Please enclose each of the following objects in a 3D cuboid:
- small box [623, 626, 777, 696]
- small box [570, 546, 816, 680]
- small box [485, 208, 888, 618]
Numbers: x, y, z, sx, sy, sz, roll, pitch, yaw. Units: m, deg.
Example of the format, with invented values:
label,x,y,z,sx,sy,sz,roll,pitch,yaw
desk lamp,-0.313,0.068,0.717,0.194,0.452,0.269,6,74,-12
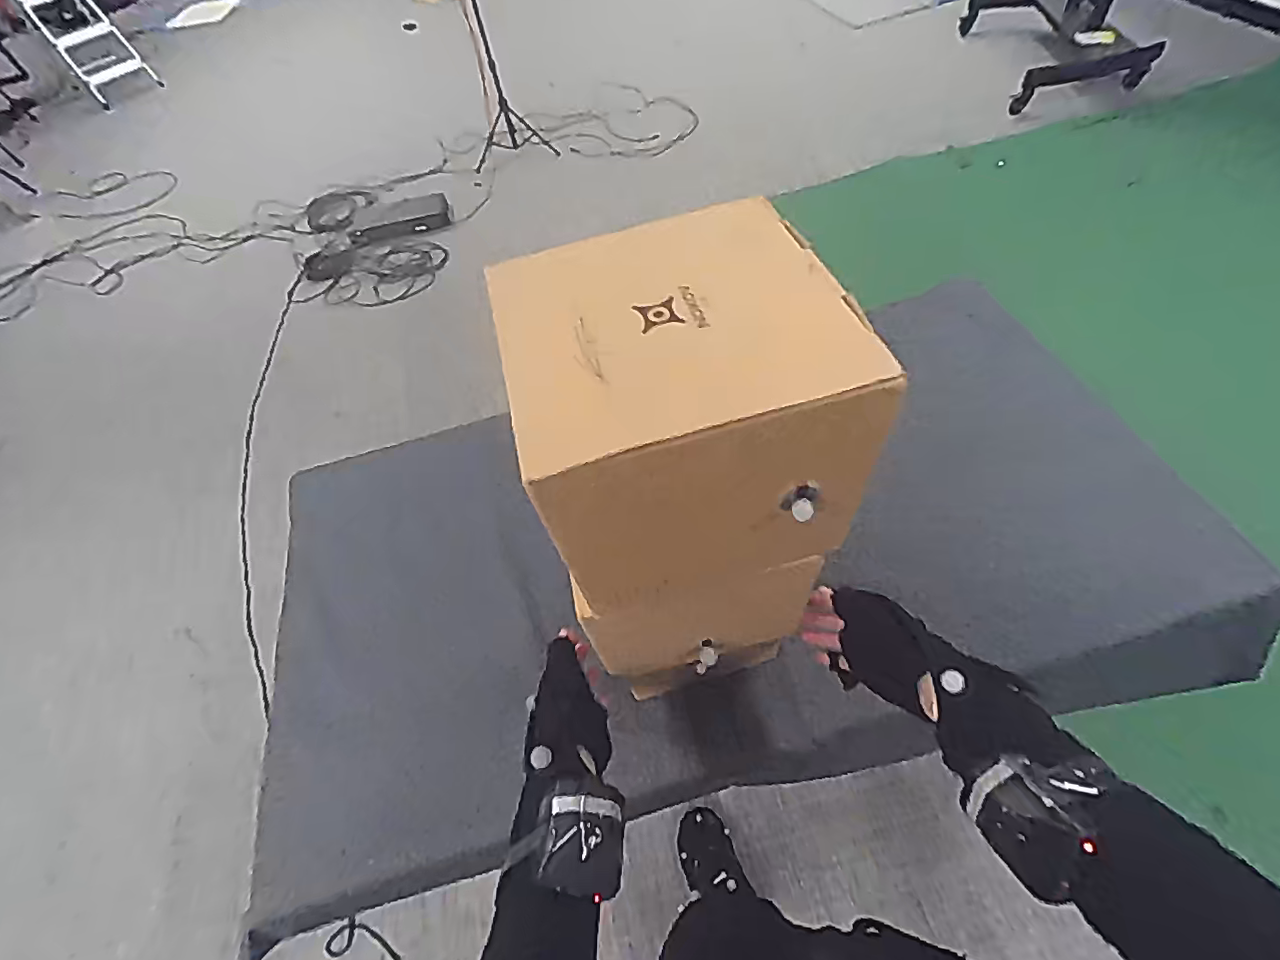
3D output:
label,x,y,z,sx,sy,sz,roll,pitch,yaw
small box,0.045,0.131,0.627,0.179,0.176,0.168,-17,55,-2
small box,0.029,0.060,0.483,0.179,0.176,0.168,-17,57,-3
small box,0.019,-0.035,0.347,0.179,0.176,0.168,-17,54,-3
